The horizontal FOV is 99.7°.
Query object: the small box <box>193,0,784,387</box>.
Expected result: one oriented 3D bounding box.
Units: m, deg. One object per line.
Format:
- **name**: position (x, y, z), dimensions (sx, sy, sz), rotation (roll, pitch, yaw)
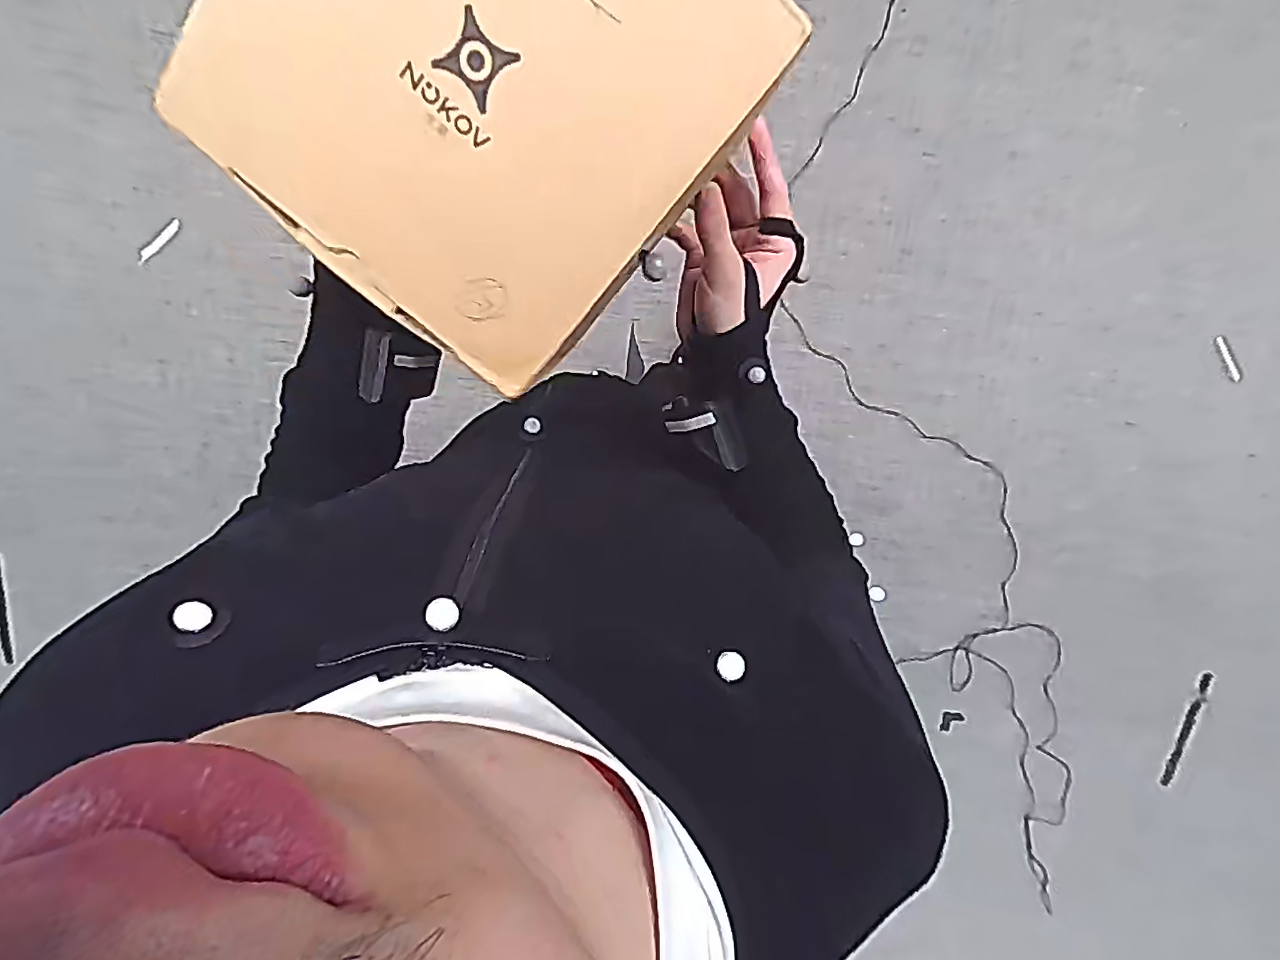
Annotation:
- **small box**: position (-0.059, -0.179, 0.278), dimensions (0.168, 0.176, 0.179), rotation (38, 107, -13)
